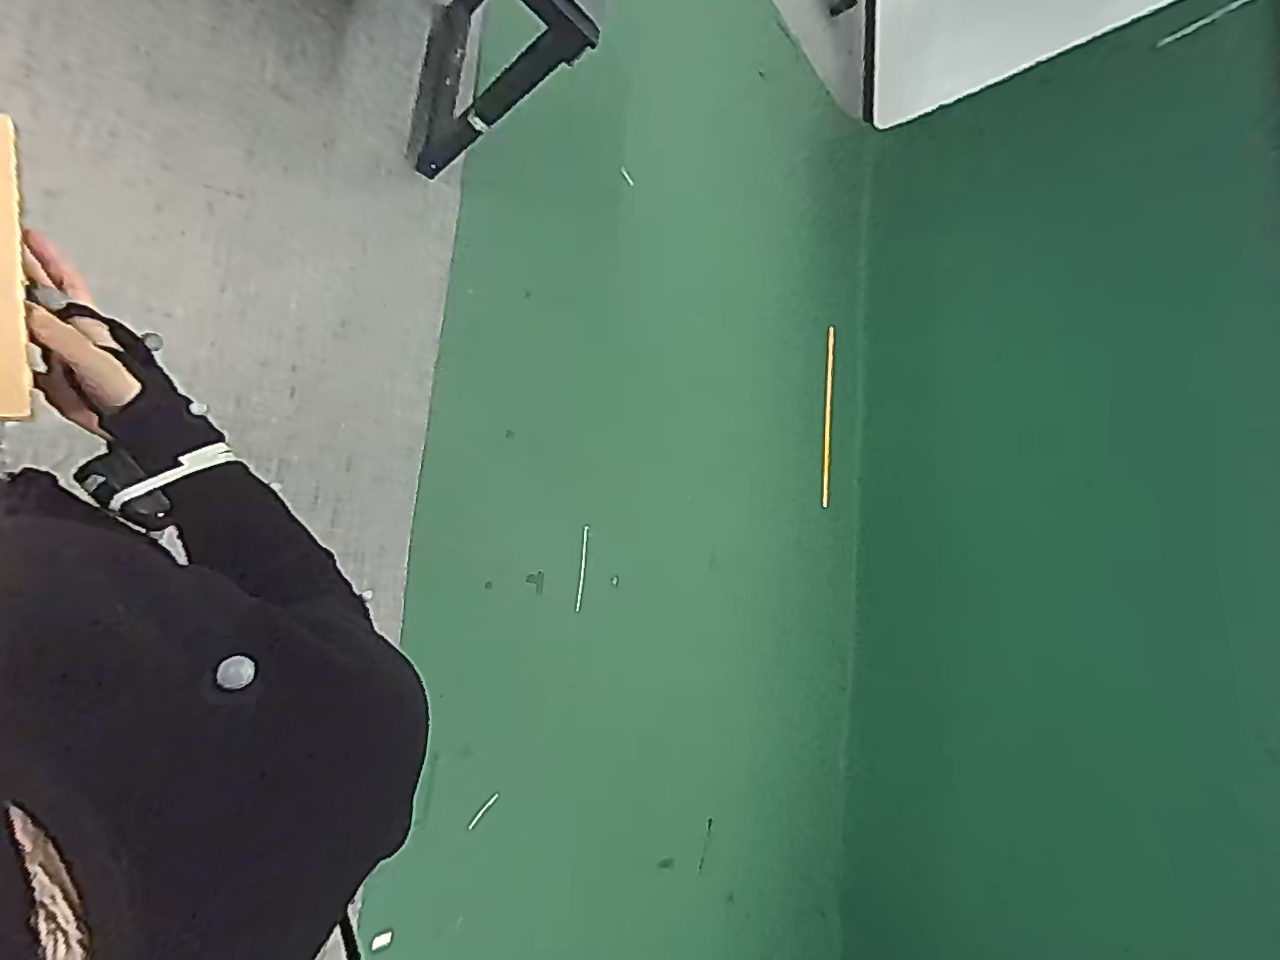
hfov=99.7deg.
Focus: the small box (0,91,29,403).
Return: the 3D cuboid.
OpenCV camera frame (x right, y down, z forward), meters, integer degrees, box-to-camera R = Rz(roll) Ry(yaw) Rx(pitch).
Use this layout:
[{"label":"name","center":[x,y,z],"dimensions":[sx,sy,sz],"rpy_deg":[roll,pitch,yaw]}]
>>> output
[{"label":"small box","center":[-0.471,-0.137,0.300],"dimensions":[0.168,0.176,0.179],"rpy_deg":[-3,98,-50]}]
